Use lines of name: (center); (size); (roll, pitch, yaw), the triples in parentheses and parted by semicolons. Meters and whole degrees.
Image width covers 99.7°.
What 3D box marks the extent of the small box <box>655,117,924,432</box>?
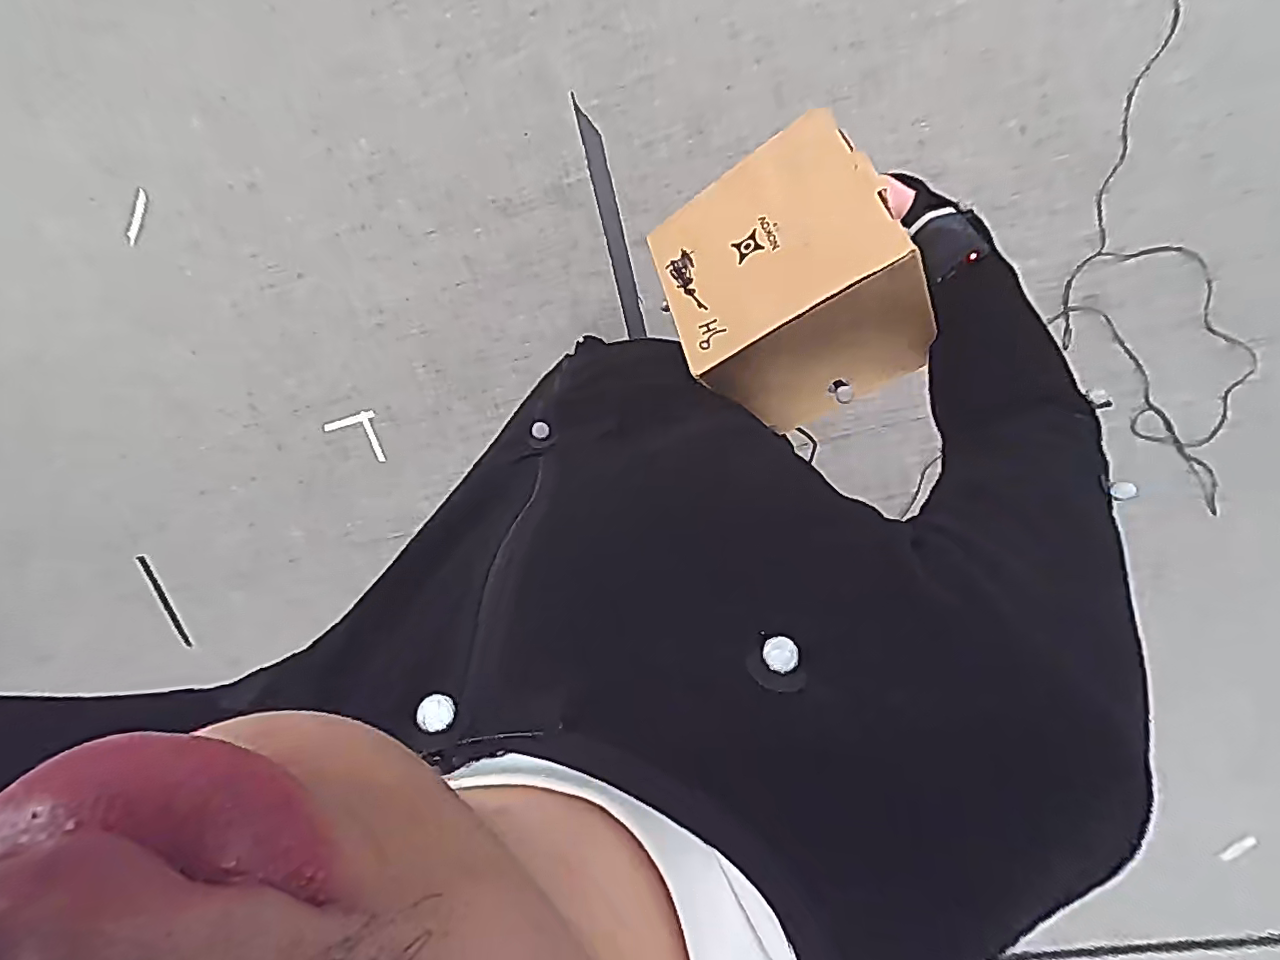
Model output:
small box: (0.144, -0.170, 0.504); (0.179, 0.176, 0.168); (-27, 62, 25)
